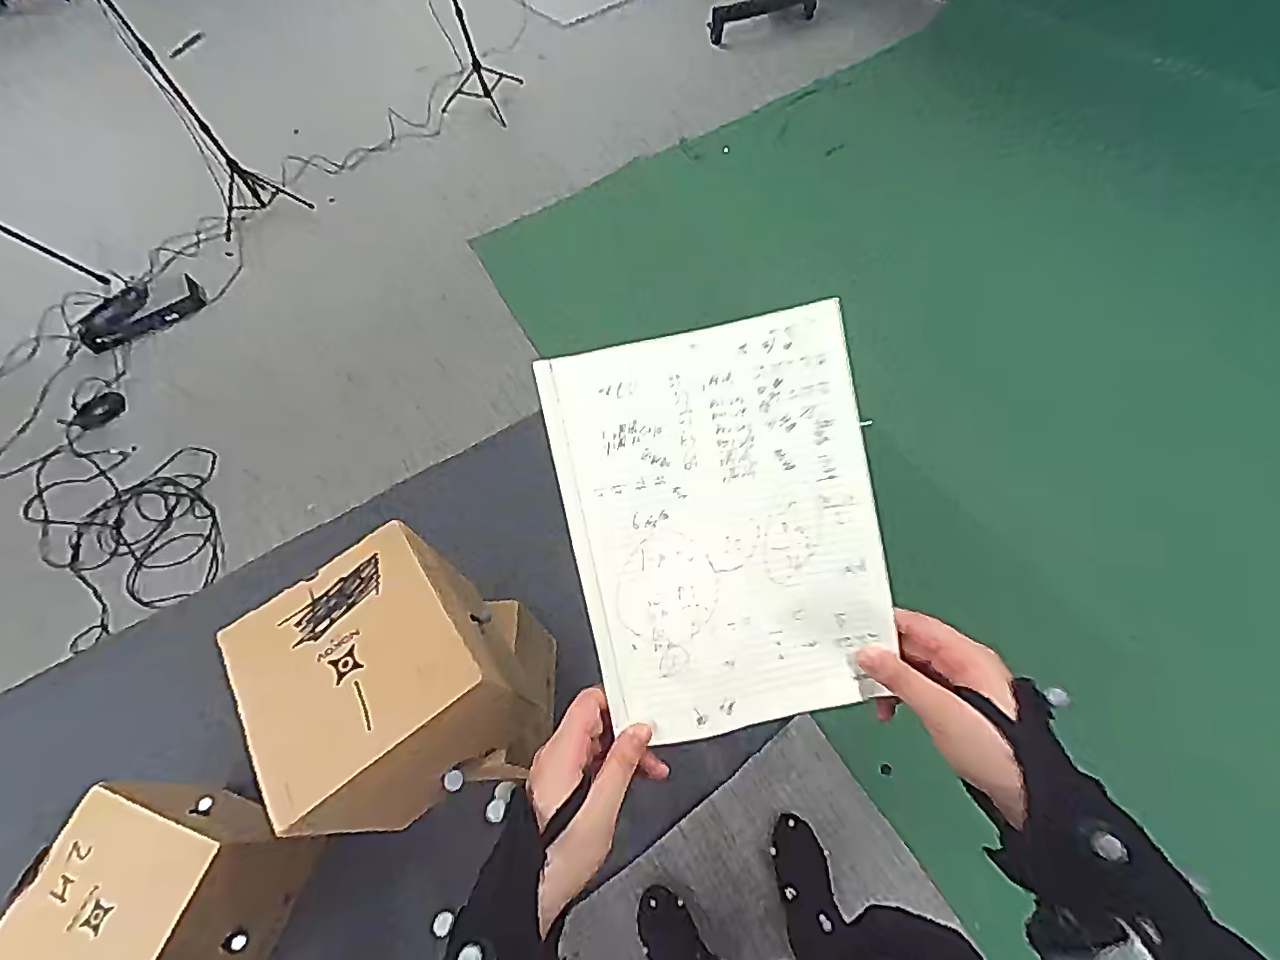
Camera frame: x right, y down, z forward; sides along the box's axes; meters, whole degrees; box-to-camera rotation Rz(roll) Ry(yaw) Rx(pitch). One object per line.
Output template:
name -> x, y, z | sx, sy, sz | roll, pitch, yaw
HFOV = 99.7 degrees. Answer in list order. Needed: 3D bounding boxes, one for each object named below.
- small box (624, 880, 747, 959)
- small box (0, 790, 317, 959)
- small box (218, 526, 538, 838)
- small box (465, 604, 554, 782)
small box -> 0.086, 0.908, 1.027 | 0.176, 0.168, 0.179 | 31, 39, -7
small box -> -0.487, 0.437, 0.559 | 0.179, 0.176, 0.168 | 11, 61, 15
small box -> -0.217, 0.180, 0.481 | 0.168, 0.176, 0.179 | -35, 61, -12
small box -> -0.204, 0.253, 0.628 | 0.179, 0.176, 0.168 | -7, 58, 6
